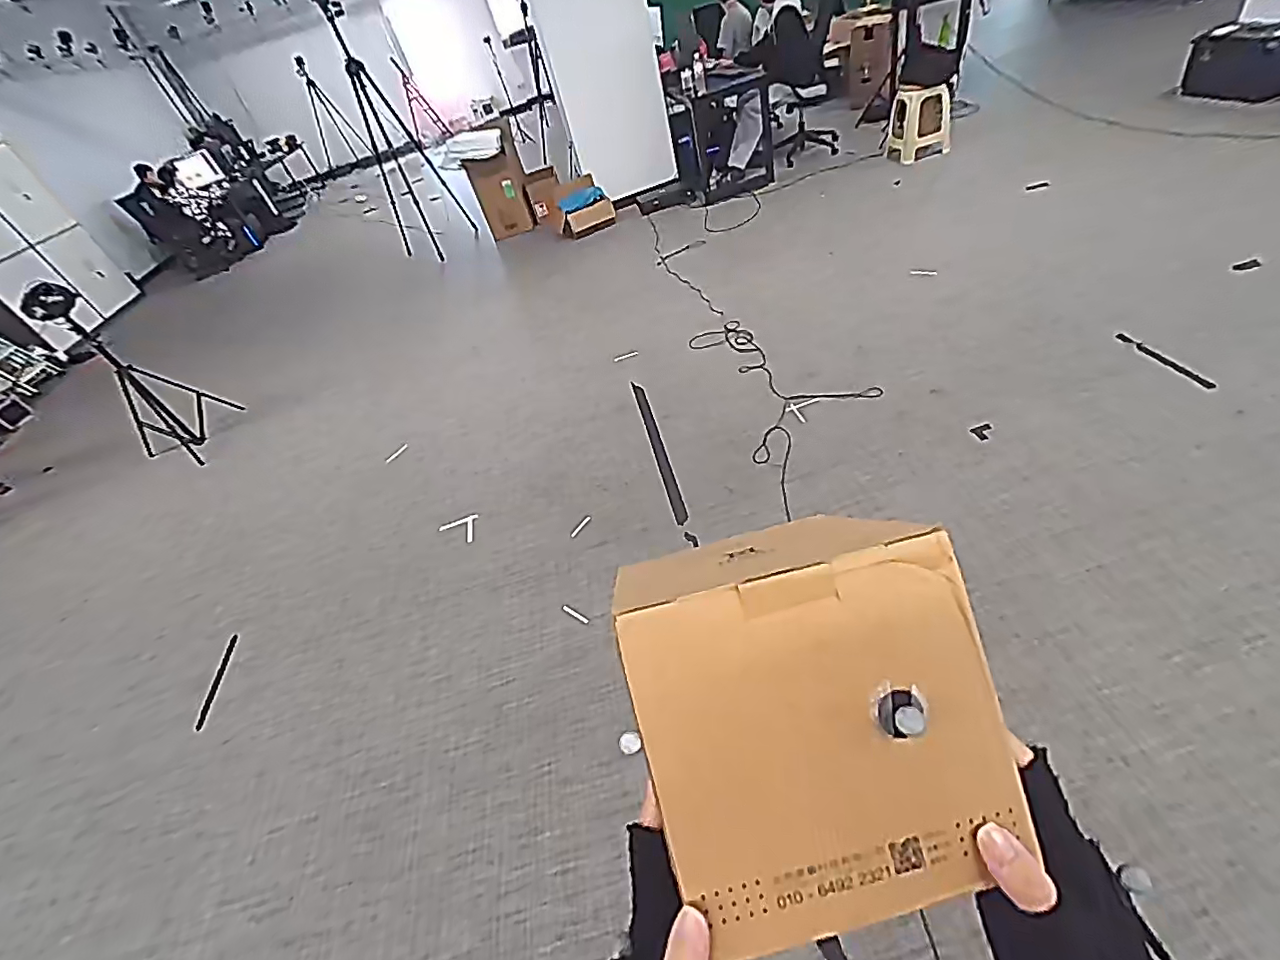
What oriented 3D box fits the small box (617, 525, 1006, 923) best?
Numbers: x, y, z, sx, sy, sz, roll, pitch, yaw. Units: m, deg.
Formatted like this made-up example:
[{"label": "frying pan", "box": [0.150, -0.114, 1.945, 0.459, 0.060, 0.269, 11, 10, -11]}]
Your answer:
[{"label": "small box", "box": [0.088, 0.136, 0.347, 0.168, 0.176, 0.179, -15, -2, -1]}]
